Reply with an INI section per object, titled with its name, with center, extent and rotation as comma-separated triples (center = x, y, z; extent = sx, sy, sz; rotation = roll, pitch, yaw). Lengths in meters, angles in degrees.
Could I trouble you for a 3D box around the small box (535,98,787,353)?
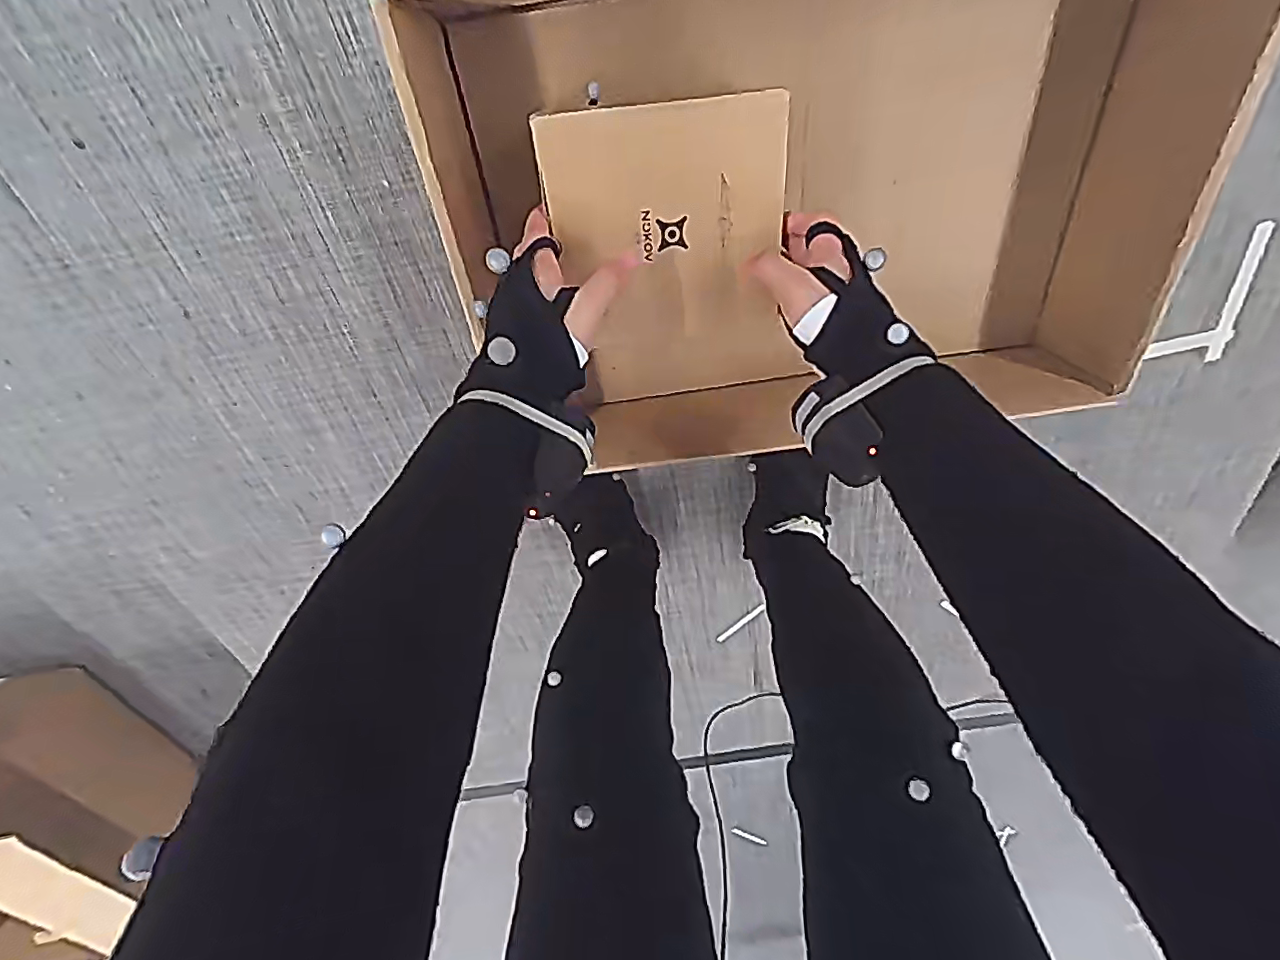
[small box]
center = 0.017, -0.228, 0.477
extent = 0.179, 0.176, 0.168
rotation = -7, 127, 0
